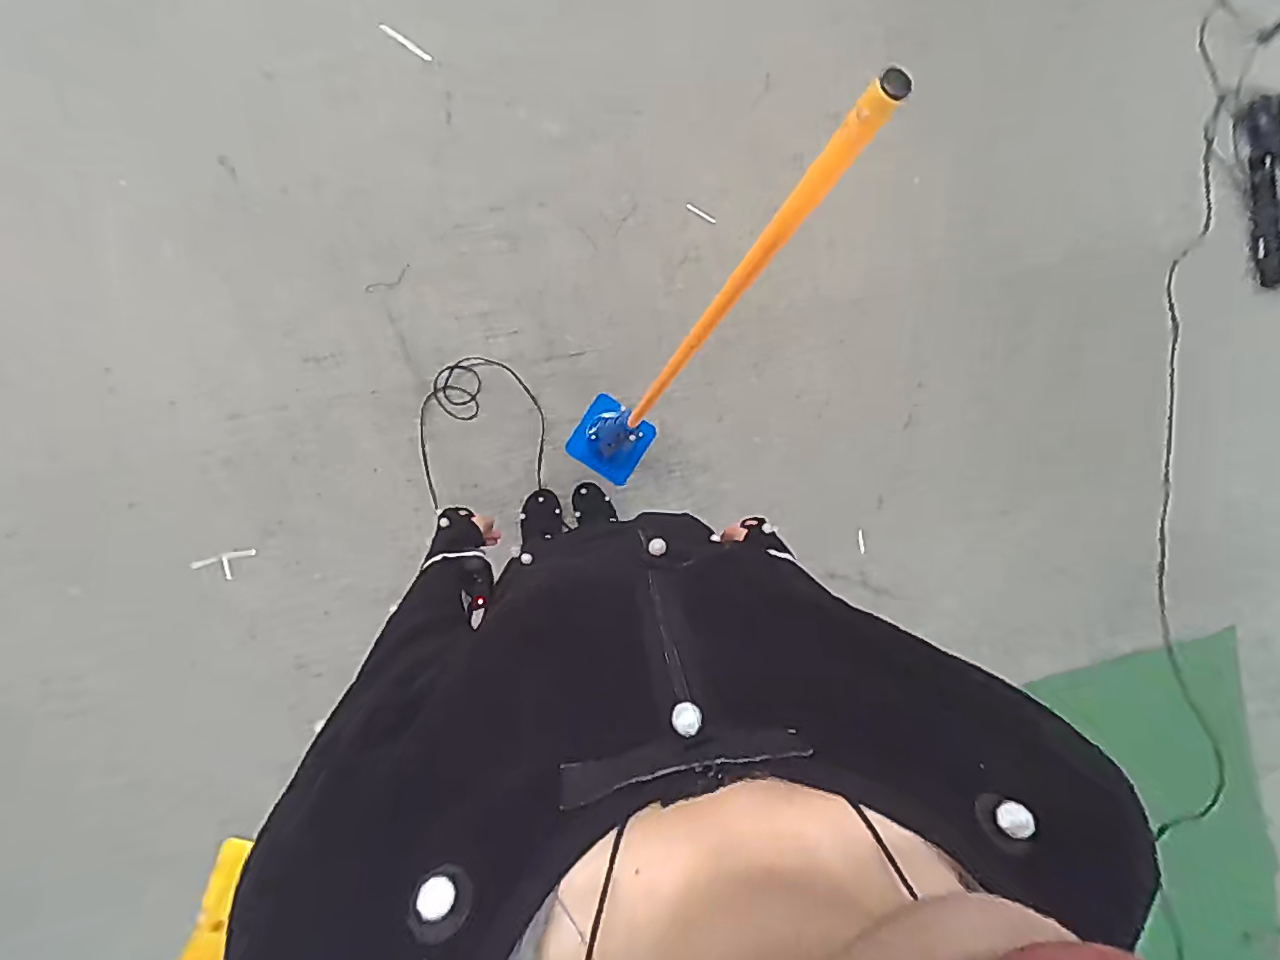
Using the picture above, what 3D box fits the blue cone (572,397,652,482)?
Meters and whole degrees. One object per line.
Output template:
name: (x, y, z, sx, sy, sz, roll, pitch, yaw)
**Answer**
blue cone: (-0.045, -0.122, 1.331, 0.192, 0.380, 0.193, 32, 82, -8)
